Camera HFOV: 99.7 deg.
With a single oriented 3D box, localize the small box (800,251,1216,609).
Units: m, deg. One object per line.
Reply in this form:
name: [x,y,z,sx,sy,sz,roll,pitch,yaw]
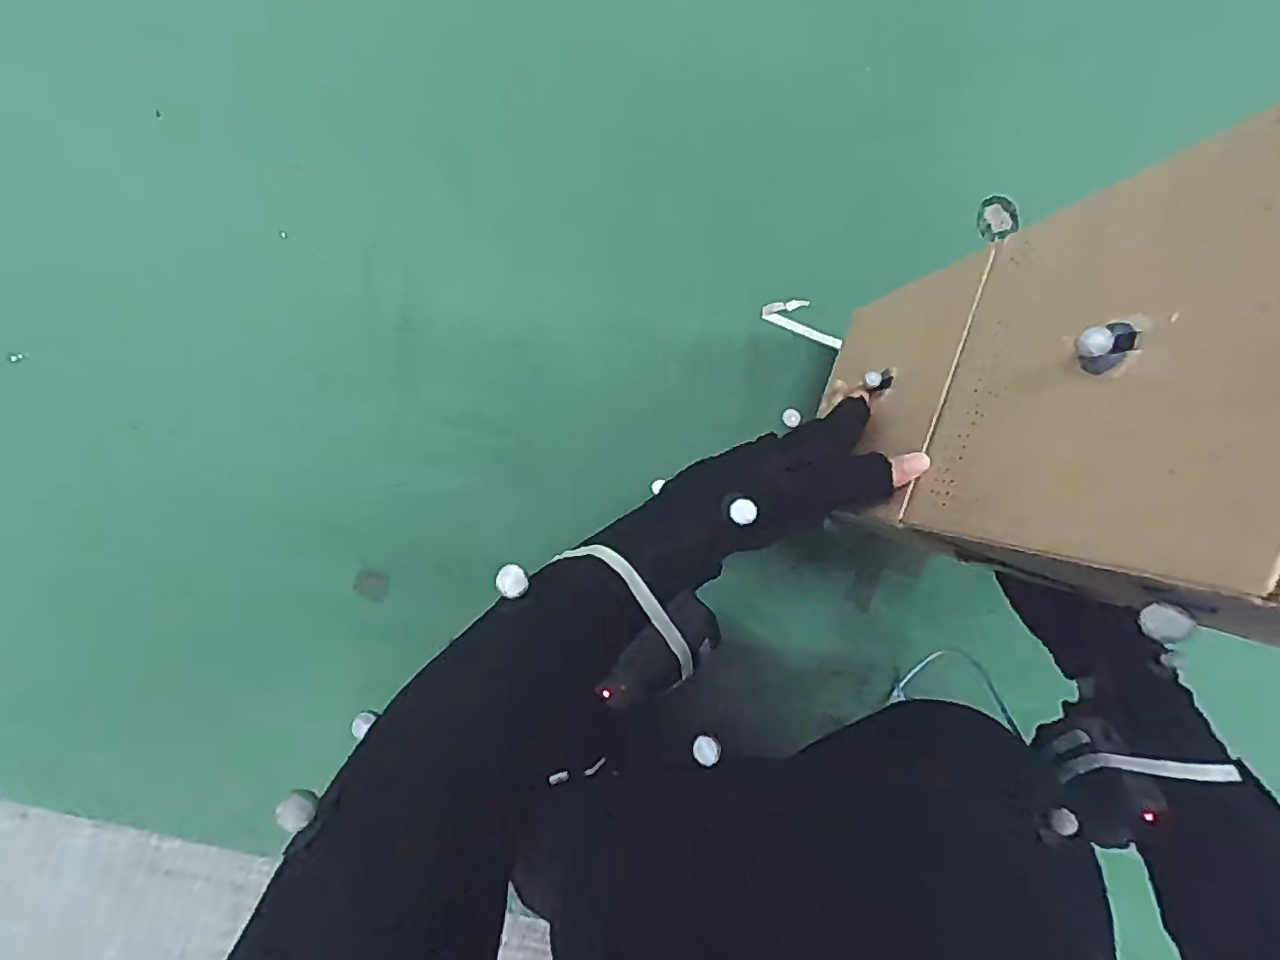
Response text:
small box: [0.241,-0.030,0.403,0.168,0.176,0.179,19,90,-7]
